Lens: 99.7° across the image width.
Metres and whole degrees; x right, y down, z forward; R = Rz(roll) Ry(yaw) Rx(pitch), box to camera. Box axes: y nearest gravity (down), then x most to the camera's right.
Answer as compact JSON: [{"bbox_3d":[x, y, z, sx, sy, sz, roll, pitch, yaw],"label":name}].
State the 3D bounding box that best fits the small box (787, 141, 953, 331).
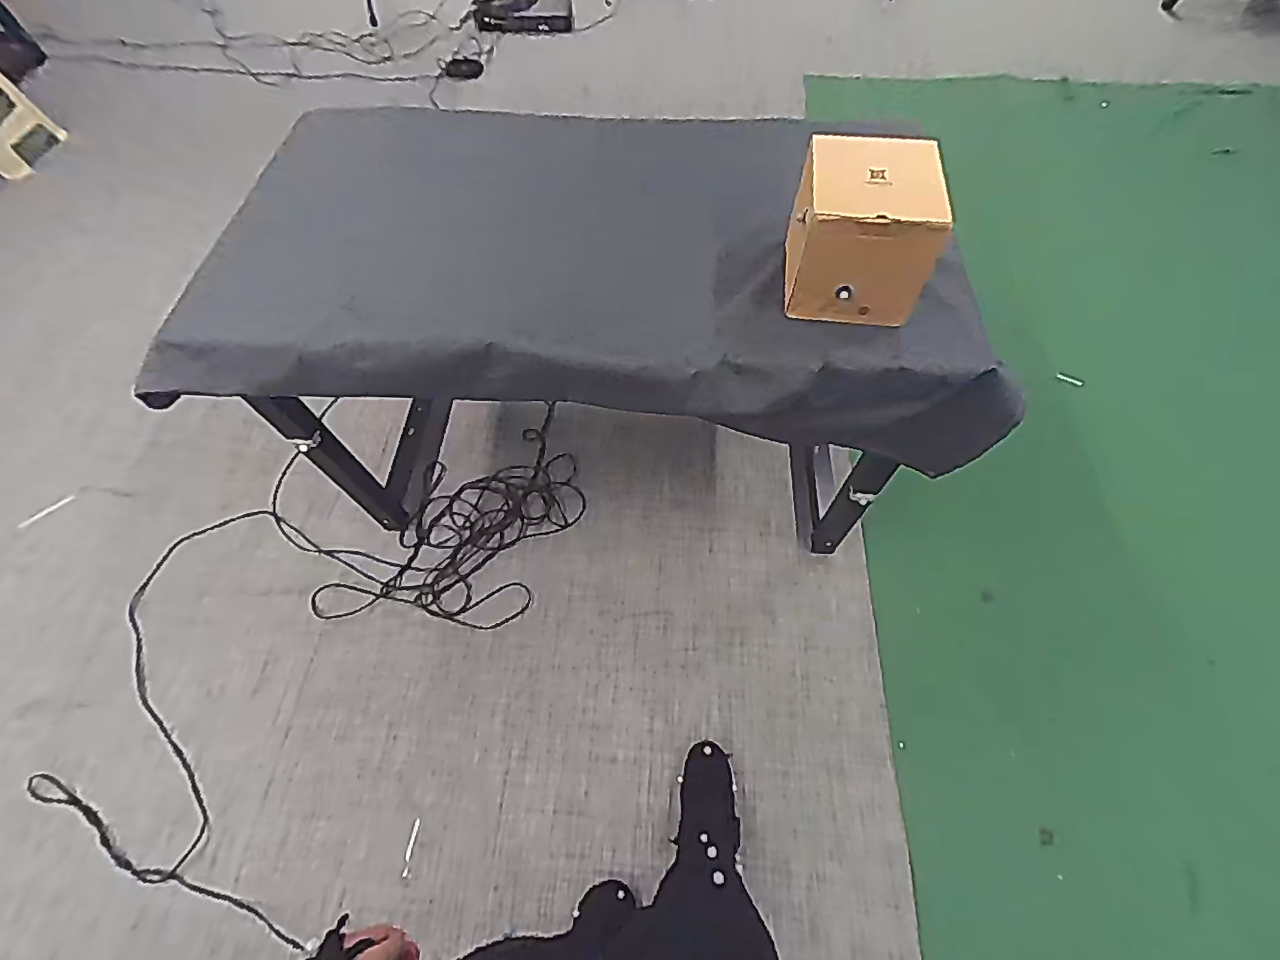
[{"bbox_3d":[0.306,-0.339,0.759,0.168,0.176,0.179,6,61,5],"label":"small box"}]
